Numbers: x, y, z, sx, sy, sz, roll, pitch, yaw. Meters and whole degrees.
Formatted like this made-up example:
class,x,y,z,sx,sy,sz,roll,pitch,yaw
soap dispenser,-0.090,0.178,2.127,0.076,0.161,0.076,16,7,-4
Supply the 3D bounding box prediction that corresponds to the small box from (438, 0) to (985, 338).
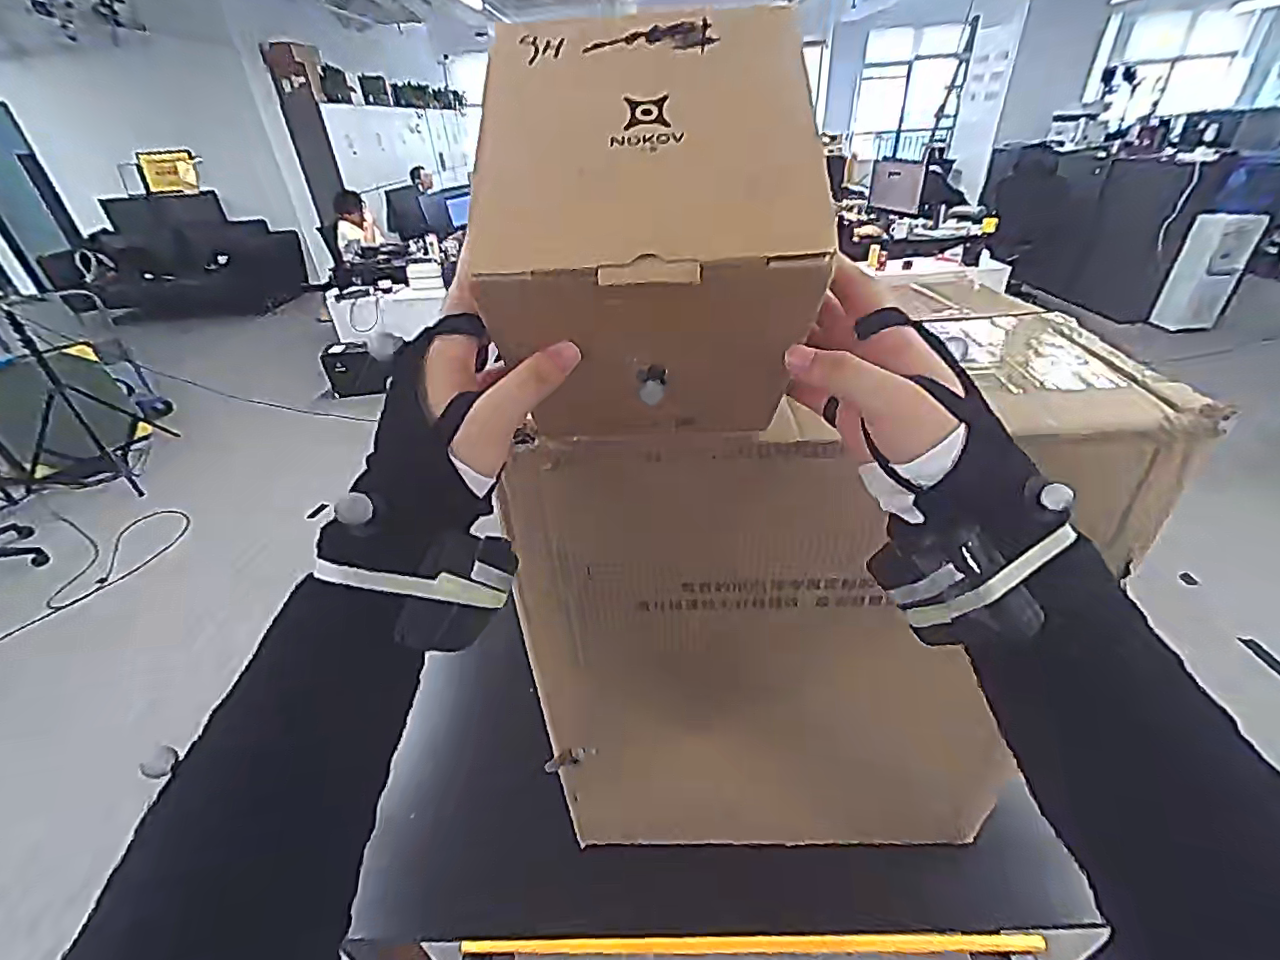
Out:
class,x,y,z,sx,sy,sz,roll,pitch,yaw
small box,0.022,-0.182,0.260,0.168,0.176,0.179,-2,70,2
